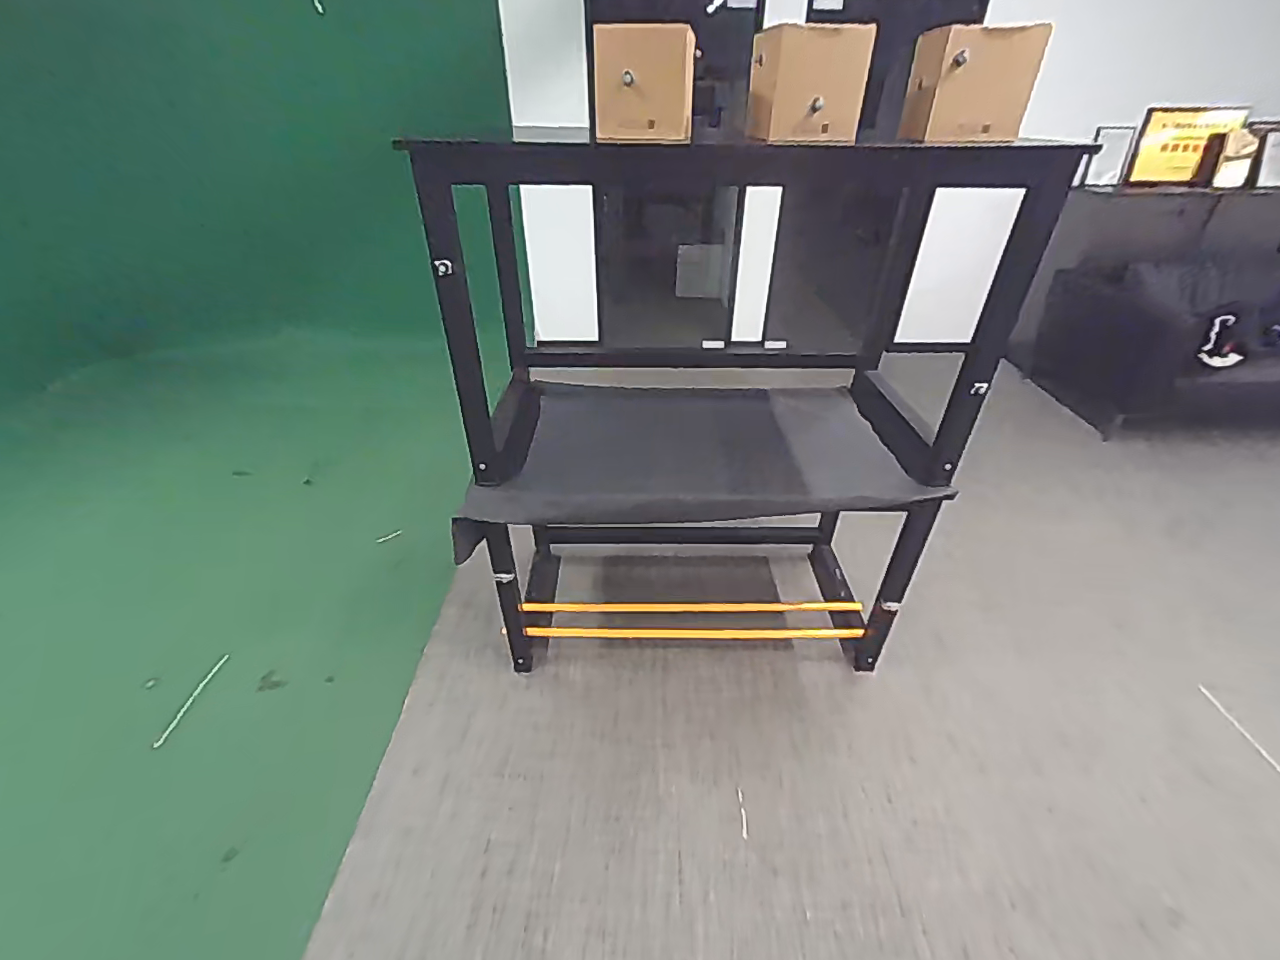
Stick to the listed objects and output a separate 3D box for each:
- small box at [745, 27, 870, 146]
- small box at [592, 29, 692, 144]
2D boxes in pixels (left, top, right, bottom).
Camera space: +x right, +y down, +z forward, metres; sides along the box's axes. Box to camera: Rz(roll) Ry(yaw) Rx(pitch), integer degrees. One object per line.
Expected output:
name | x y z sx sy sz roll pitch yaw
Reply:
small box | 0.304 -0.738 1.025 0.168 0.176 0.179 -3 35 -4
small box | 0.010 -0.747 1.038 0.168 0.176 0.179 5 34 6
